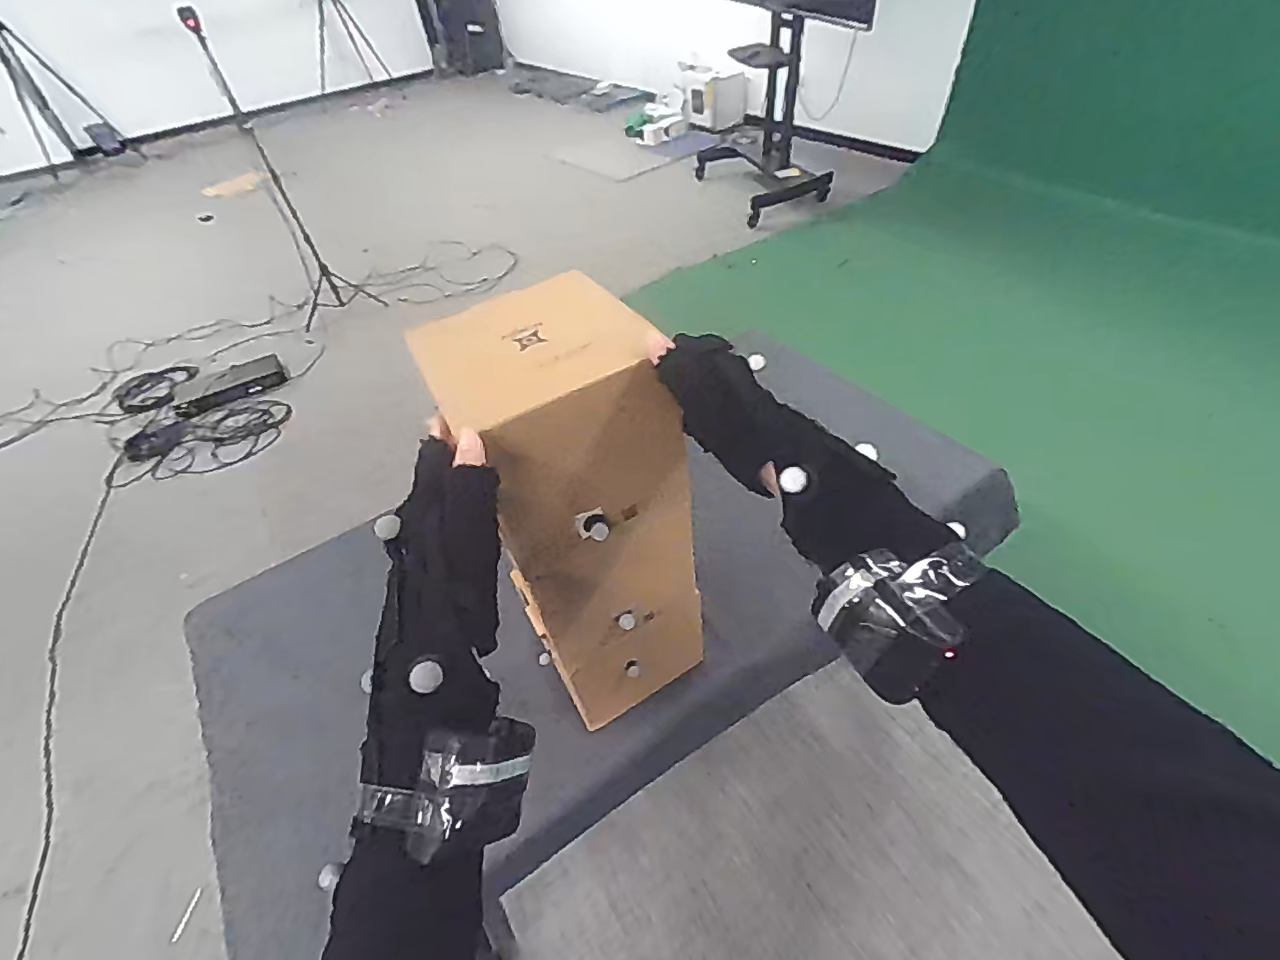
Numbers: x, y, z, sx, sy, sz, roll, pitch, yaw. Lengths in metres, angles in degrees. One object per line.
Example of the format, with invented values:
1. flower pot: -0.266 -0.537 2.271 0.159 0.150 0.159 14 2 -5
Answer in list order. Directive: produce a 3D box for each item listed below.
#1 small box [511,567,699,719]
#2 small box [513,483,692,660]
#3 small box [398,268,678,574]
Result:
1. small box: -0.038 0.173 0.703 0.179 0.176 0.168 -28 48 -16
2. small box: -0.059 0.057 0.588 0.168 0.176 0.179 -28 46 -17
3. small box: -0.082 -0.053 0.470 0.168 0.176 0.179 -27 47 -14
